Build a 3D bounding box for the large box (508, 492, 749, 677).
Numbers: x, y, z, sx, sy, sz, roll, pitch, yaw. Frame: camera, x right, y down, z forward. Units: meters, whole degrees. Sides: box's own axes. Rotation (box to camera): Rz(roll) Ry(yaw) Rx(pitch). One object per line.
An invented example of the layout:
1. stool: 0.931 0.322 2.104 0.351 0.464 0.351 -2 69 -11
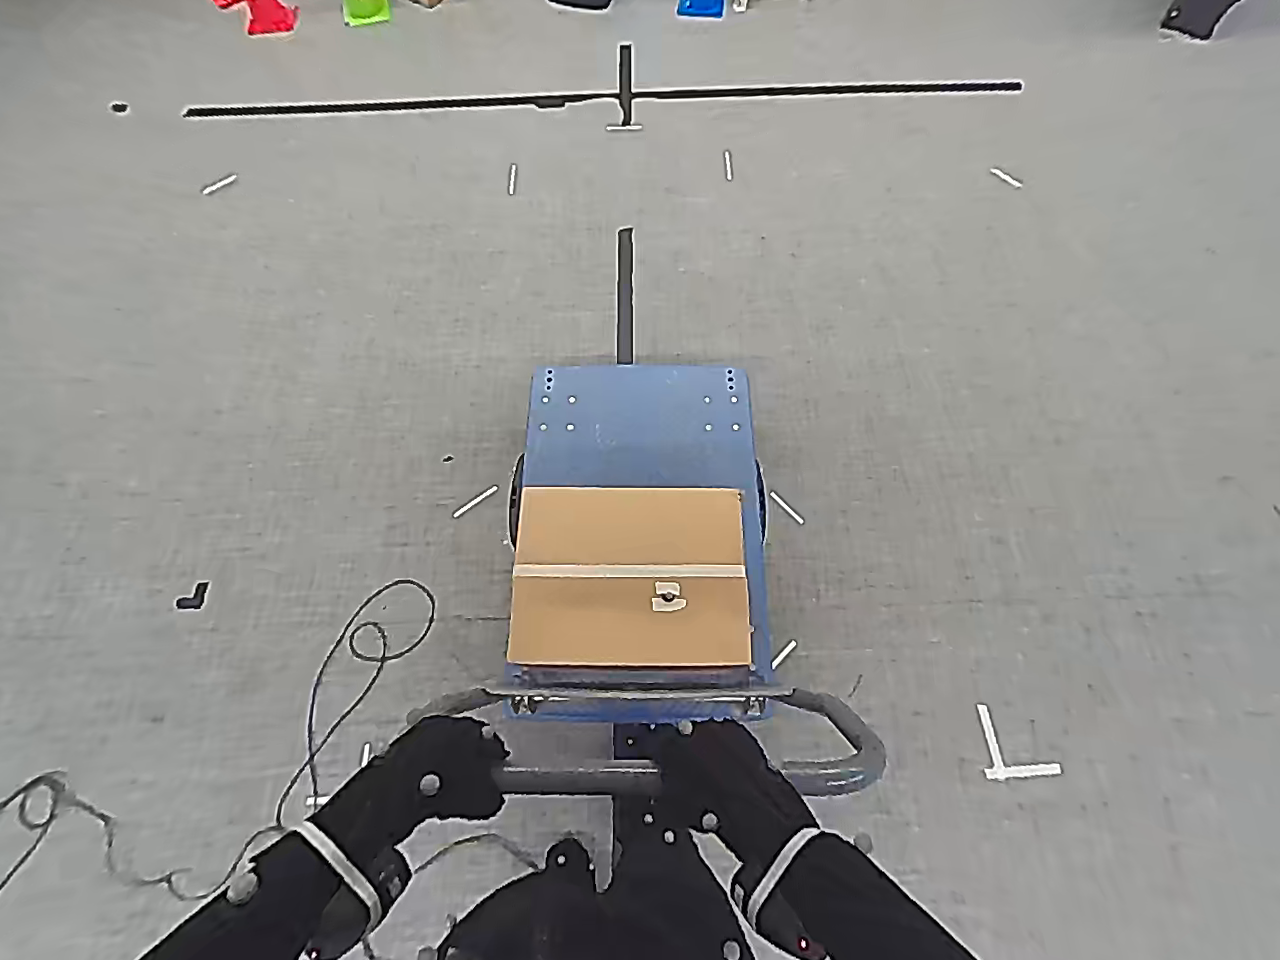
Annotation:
1. large box: -0.023 0.221 1.075 0.408 0.320 0.320 1 69 0
